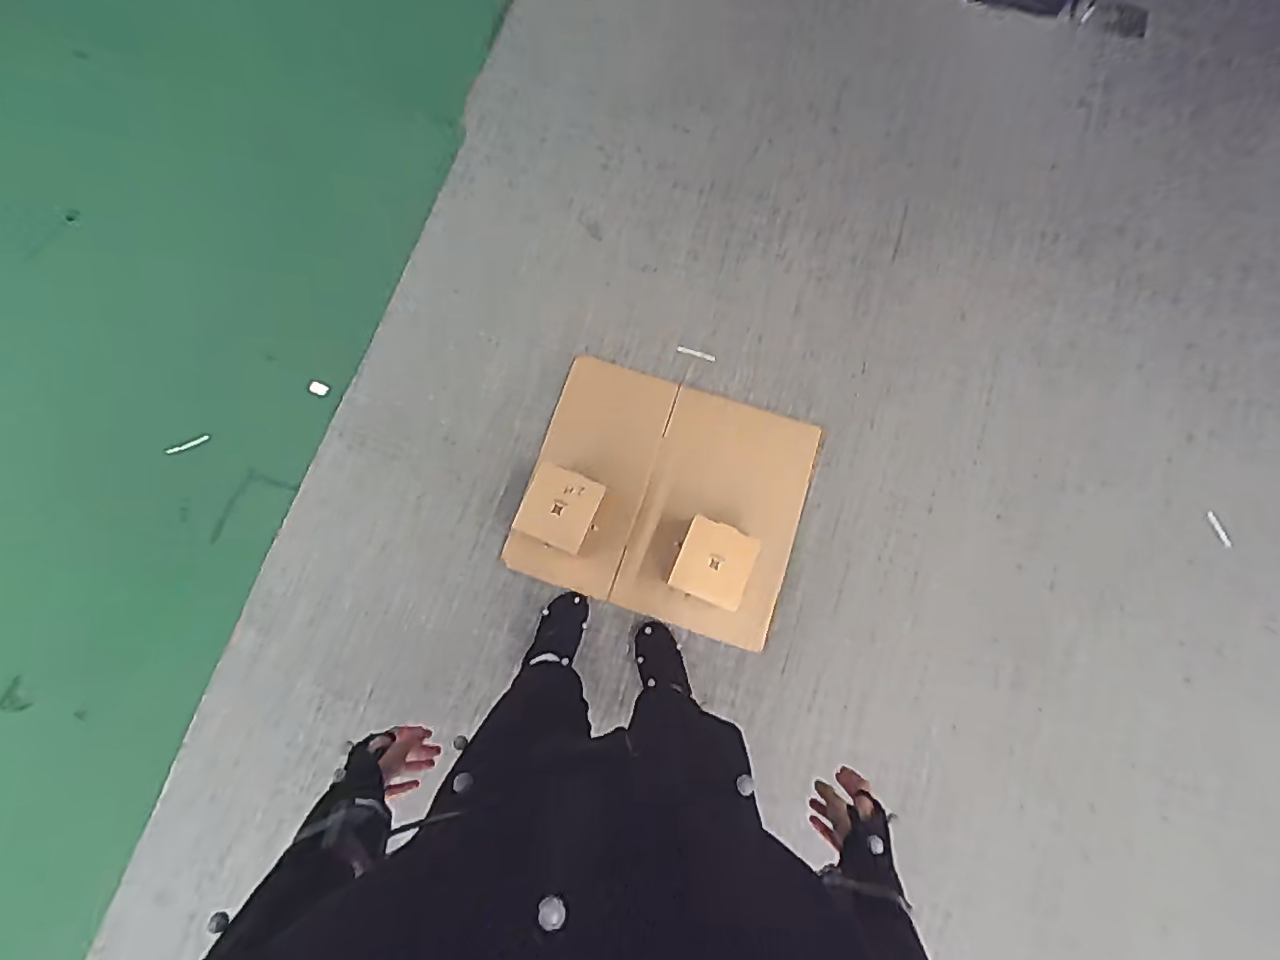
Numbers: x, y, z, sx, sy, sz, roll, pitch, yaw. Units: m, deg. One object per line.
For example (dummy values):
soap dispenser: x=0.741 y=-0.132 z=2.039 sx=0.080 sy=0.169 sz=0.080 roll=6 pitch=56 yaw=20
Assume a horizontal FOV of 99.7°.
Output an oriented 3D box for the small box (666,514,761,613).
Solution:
small box: x=0.166 y=0.200 z=1.280 sx=0.168 sy=0.176 sz=0.179 roll=23 pitch=79 yaw=4

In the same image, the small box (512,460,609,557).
small box: x=-0.182 y=0.077 z=1.307 sx=0.168 sy=0.176 sz=0.179 roll=24 pitch=80 yaw=4
